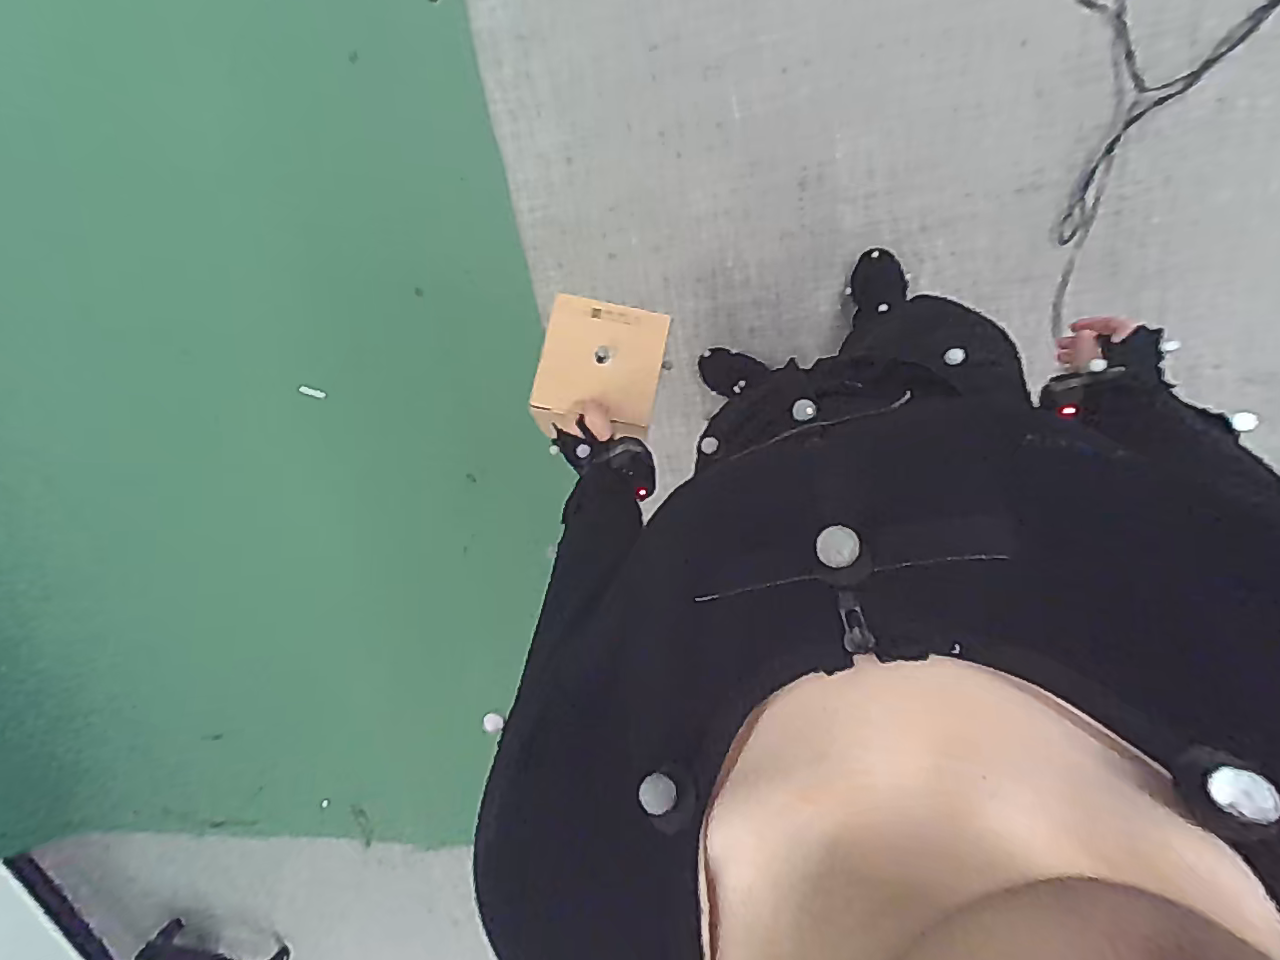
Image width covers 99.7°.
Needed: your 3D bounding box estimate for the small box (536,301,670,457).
[{"bbox_3d":[-0.053,-0.146,0.817,0.168,0.179,0.176,11,79,-1],"label":"small box"}]
